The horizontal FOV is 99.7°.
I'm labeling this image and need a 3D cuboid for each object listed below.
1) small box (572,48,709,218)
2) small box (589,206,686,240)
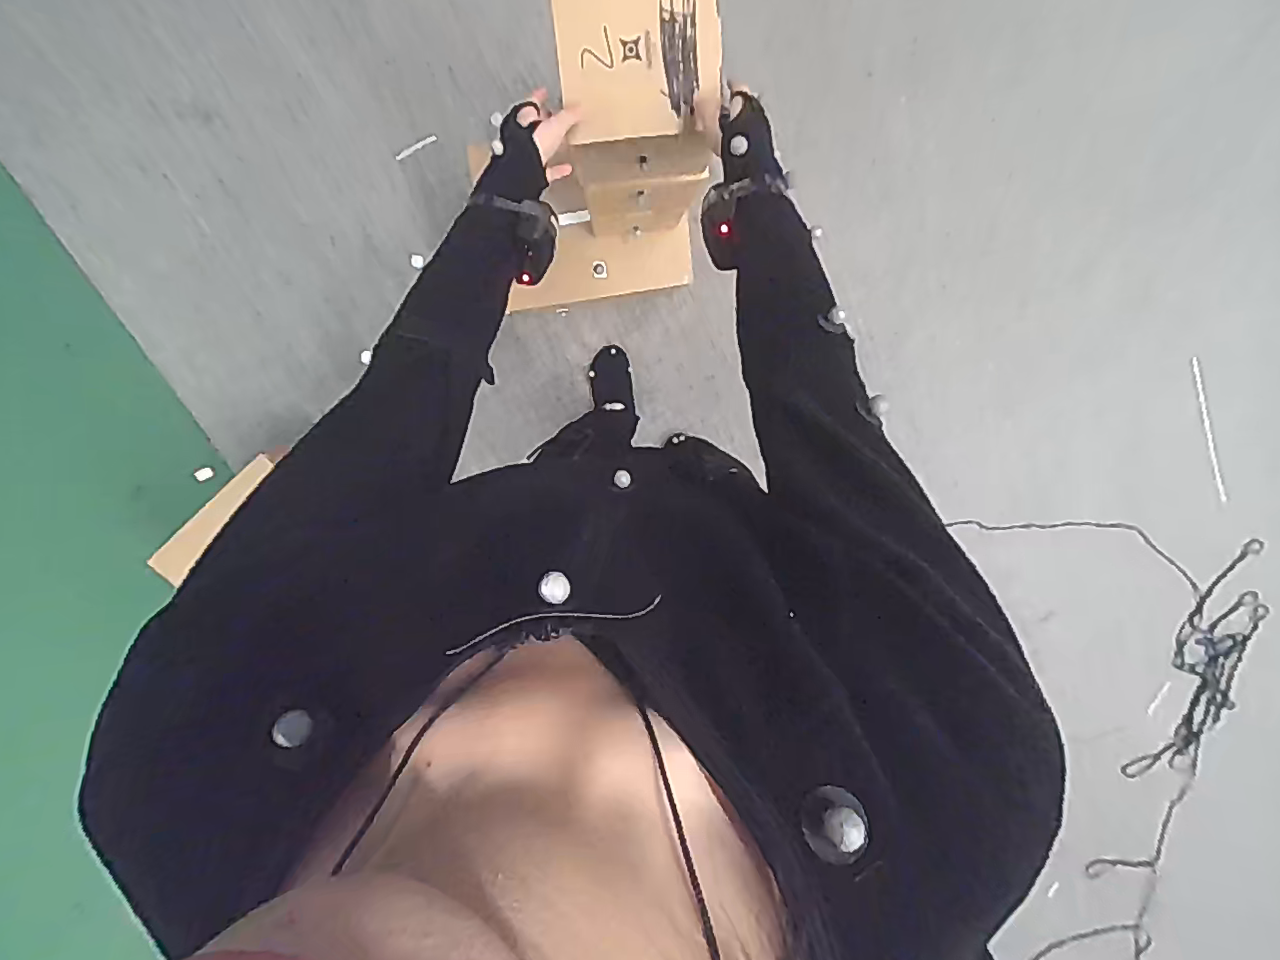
[{"bbox_3d":[0.000,-0.503,0.806,0.179,0.176,0.168,-6,105,0],"label":"small box"},{"bbox_3d":[-0.015,-0.543,0.962,0.168,0.176,0.179,-7,105,0],"label":"small box"}]
